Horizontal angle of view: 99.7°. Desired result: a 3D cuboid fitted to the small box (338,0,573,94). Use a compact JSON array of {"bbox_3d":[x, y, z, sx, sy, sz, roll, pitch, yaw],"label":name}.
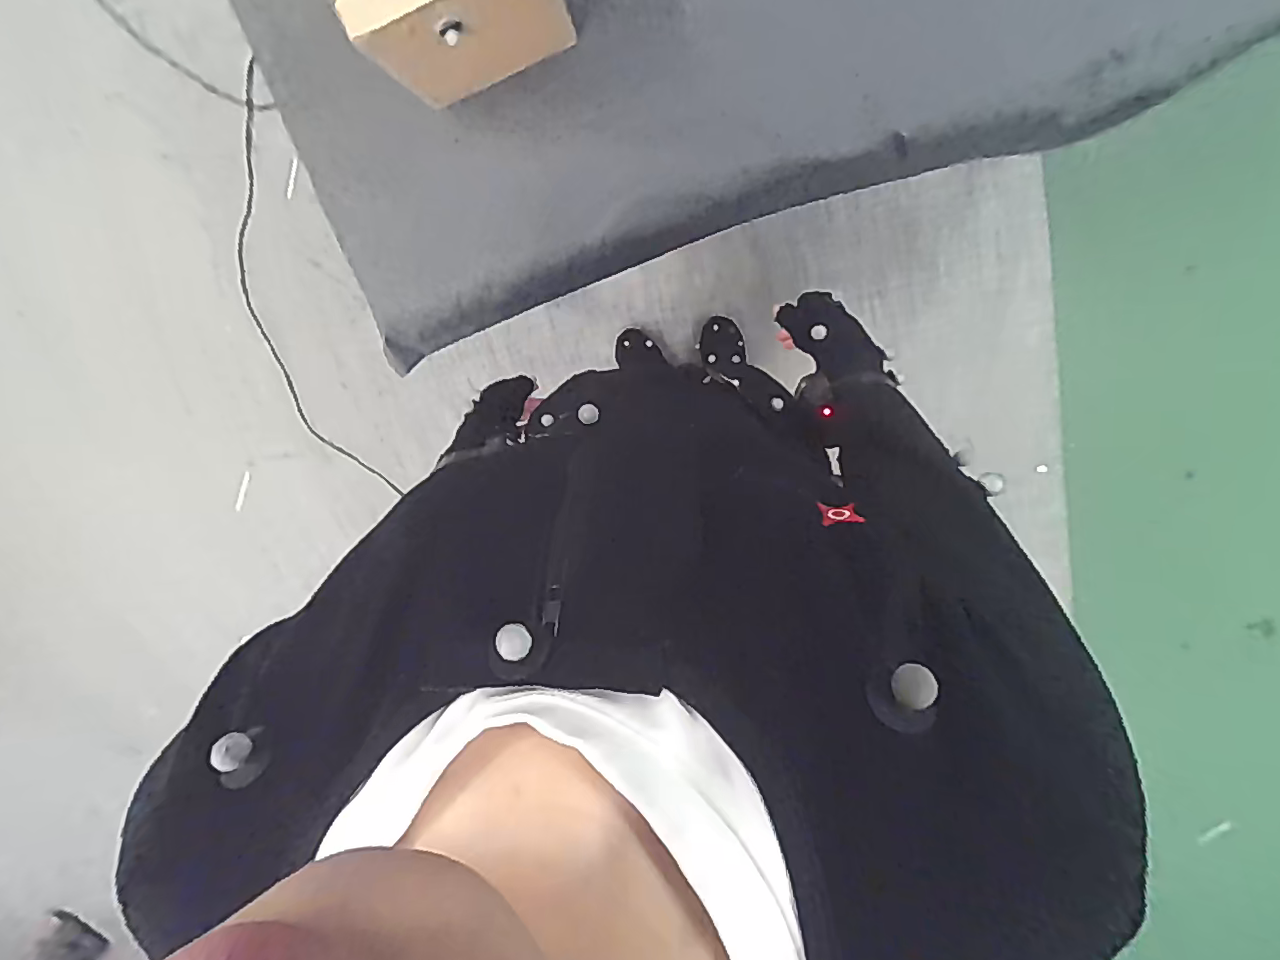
[{"bbox_3d":[-0.181,-0.498,0.496,0.179,0.176,0.168,-17,106,9],"label":"small box"}]
